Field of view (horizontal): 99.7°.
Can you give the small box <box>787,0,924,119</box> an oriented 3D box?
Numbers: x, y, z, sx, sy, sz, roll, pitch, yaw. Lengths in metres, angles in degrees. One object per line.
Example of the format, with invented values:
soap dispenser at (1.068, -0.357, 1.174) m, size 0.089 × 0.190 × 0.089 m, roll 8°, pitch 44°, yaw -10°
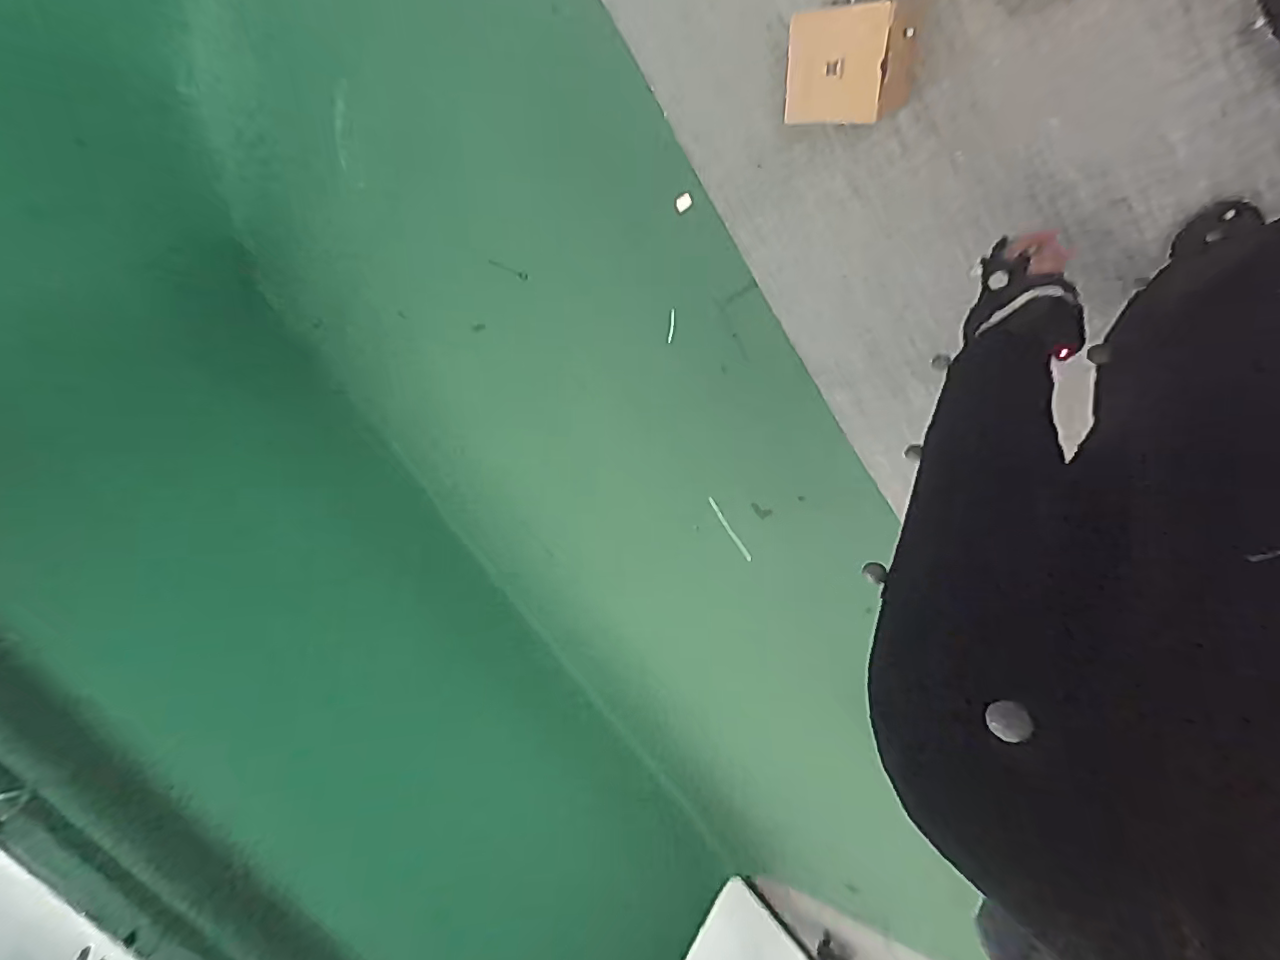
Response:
small box at (0.389, -0.766, 0.978) m, size 0.179 × 0.176 × 0.168 m, roll 23°, pitch 138°, yaw 32°
